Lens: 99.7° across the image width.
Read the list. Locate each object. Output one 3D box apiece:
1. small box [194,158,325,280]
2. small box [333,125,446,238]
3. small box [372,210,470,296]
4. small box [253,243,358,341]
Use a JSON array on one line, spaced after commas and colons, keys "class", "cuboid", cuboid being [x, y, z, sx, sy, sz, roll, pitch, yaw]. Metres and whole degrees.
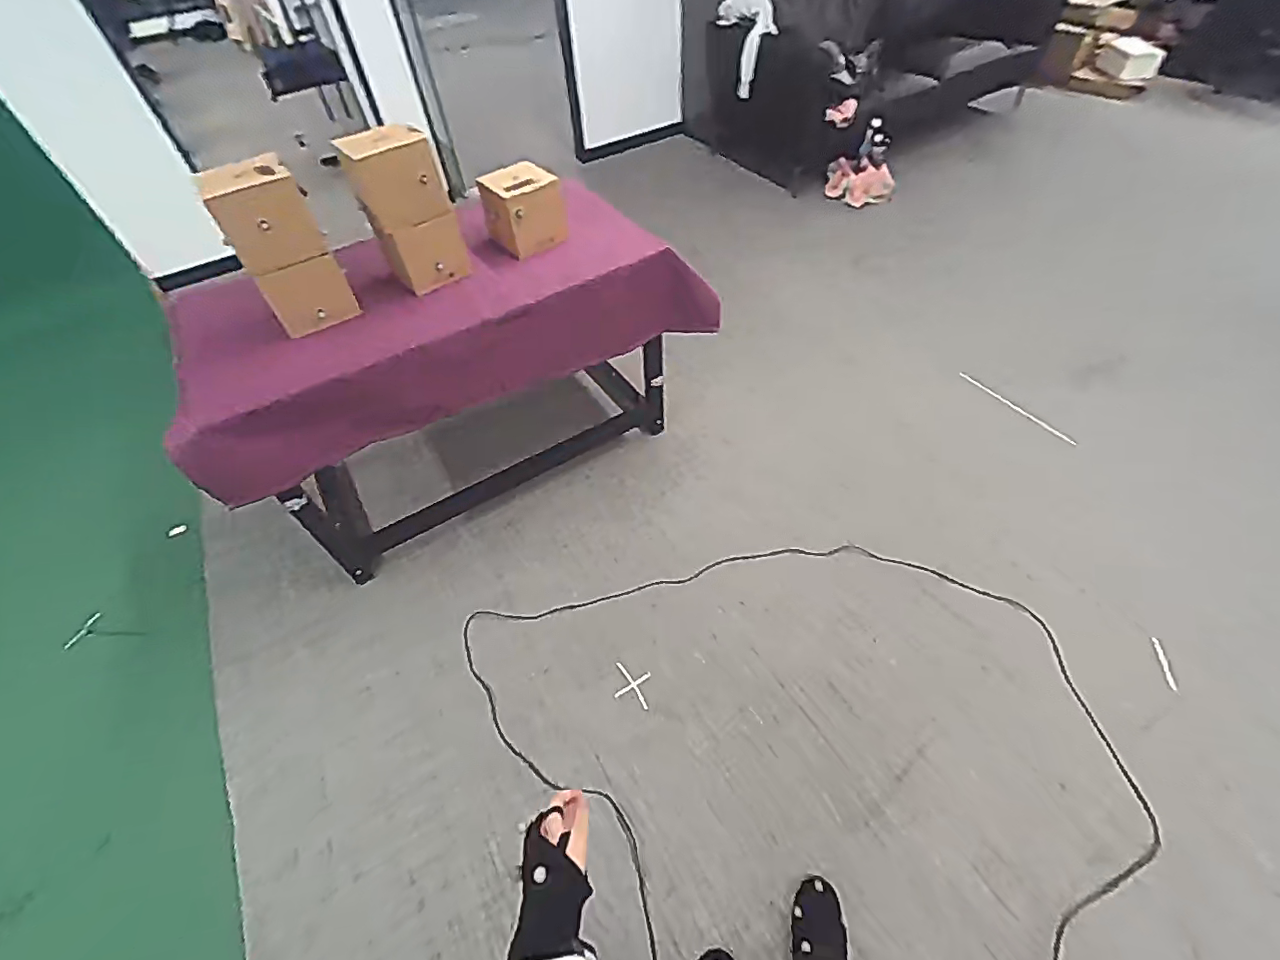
[{"class": "small box", "cuboid": [-0.831, -0.577, 1.199, 0.179, 0.176, 0.168, -30, 55, -18]}, {"class": "small box", "cuboid": [-0.586, -0.713, 1.293, 0.179, 0.176, 0.168, -33, 55, -20]}, {"class": "small box", "cuboid": [-0.577, -0.614, 1.423, 0.168, 0.176, 0.179, -35, 58, -21]}, {"class": "small box", "cuboid": [-0.822, -0.474, 1.327, 0.179, 0.176, 0.168, -30, 55, -19]}]
